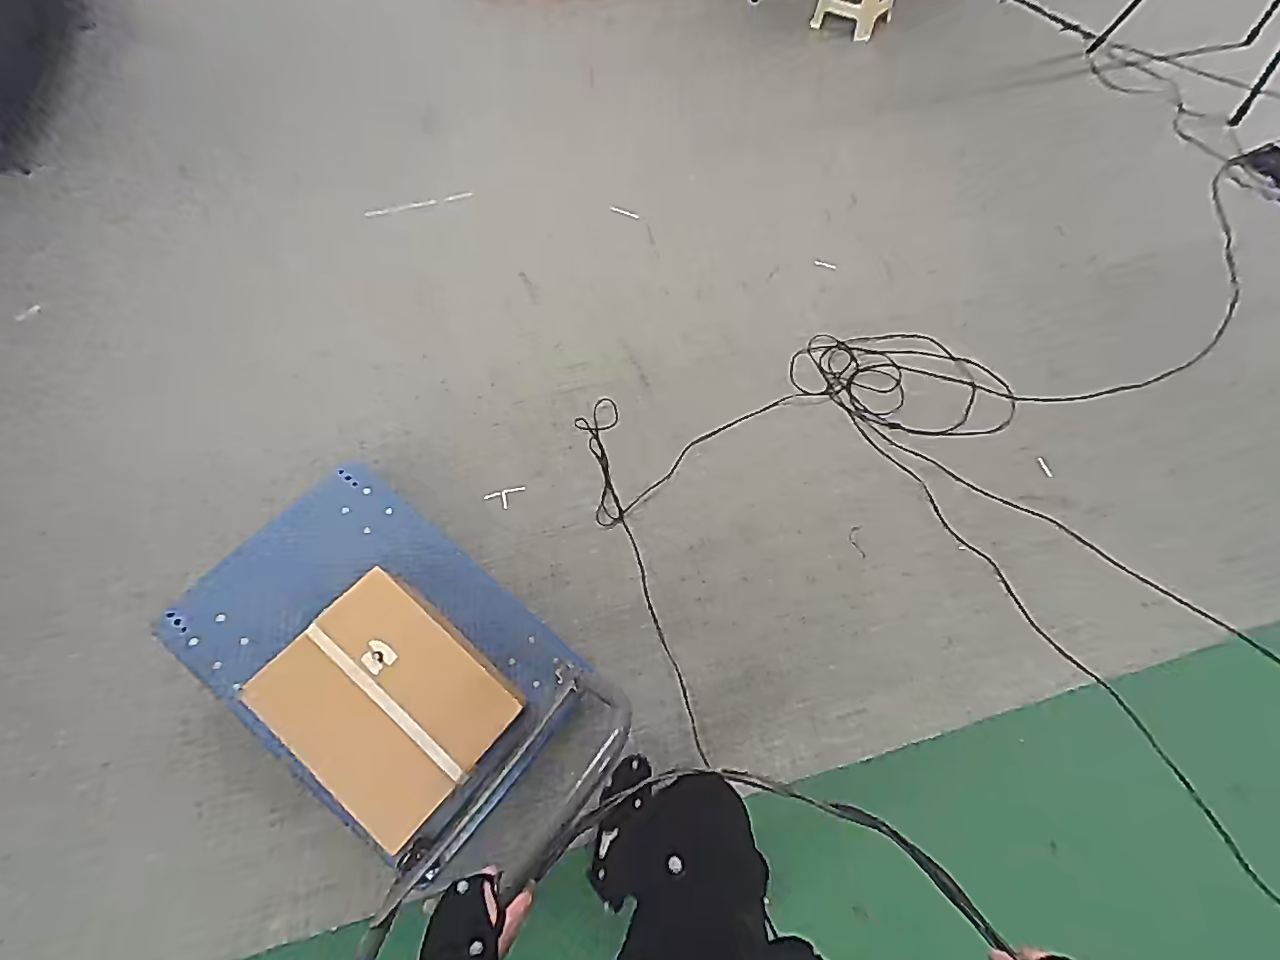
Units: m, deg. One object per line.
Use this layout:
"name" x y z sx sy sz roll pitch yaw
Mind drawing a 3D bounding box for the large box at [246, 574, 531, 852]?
"large box" -0.485 0.466 1.141 0.408 0.320 0.320 40 68 7
